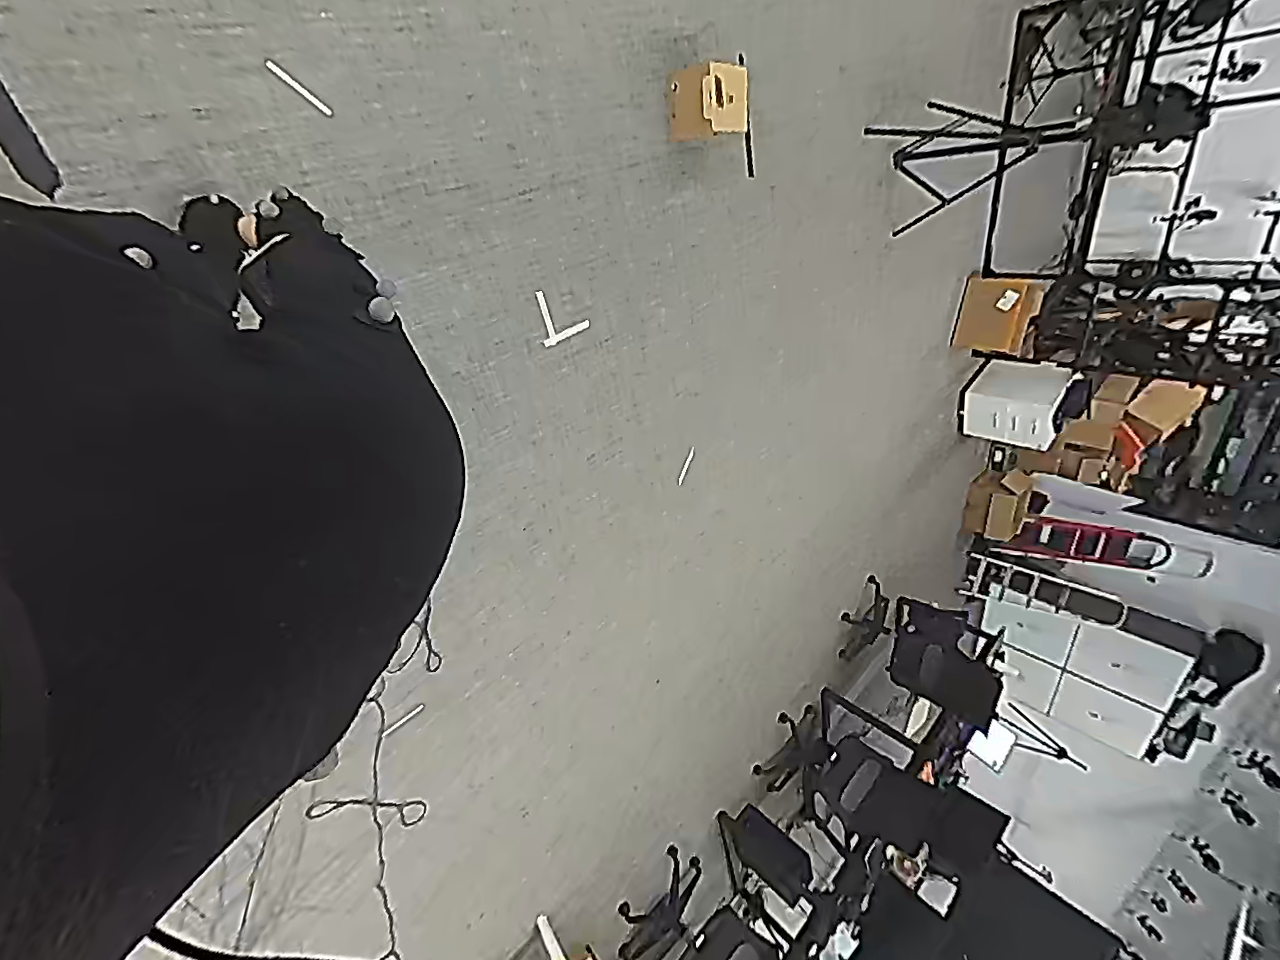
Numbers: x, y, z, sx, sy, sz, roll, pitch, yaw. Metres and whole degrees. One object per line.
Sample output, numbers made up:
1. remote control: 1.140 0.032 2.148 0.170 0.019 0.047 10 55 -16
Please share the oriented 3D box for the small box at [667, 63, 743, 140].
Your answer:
1. small box: 0.195 -1.143 1.647 0.179 0.176 0.168 -26 123 -36
